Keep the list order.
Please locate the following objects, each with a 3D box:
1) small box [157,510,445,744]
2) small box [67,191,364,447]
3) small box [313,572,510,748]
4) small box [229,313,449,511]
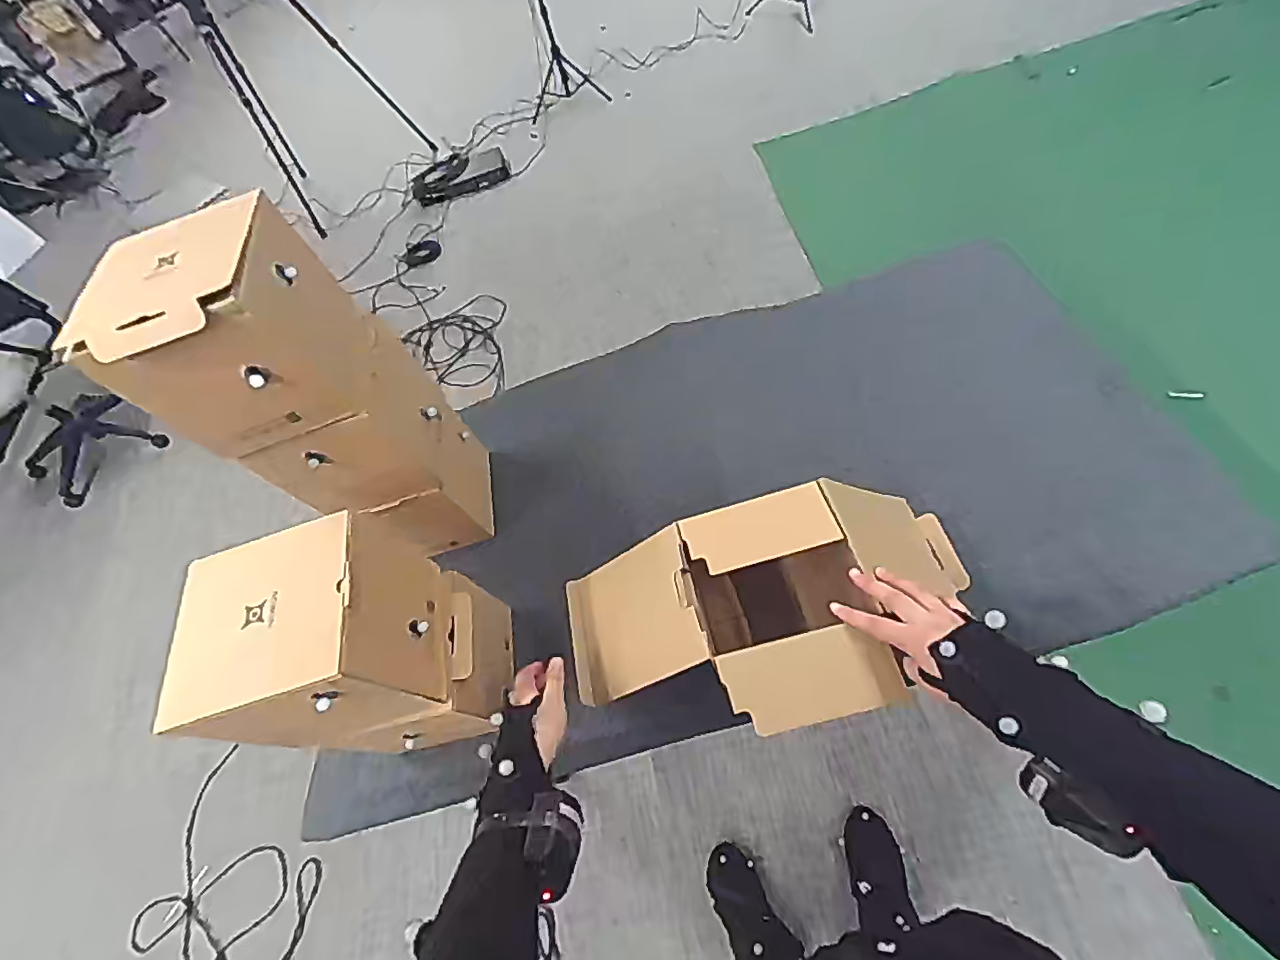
[{"bbox_3d":[-0.326,0.160,0.559,0.179,0.176,0.168,-19,58,3],"label":"small box"},{"bbox_3d":[-0.415,-0.155,0.567,0.168,0.176,0.179,-19,57,2],"label":"small box"},{"bbox_3d":[-0.276,0.237,0.694,0.179,0.176,0.168,-15,59,6],"label":"small box"},{"bbox_3d":[-0.373,-0.079,0.705,0.179,0.176,0.168,-16,59,5],"label":"small box"}]
